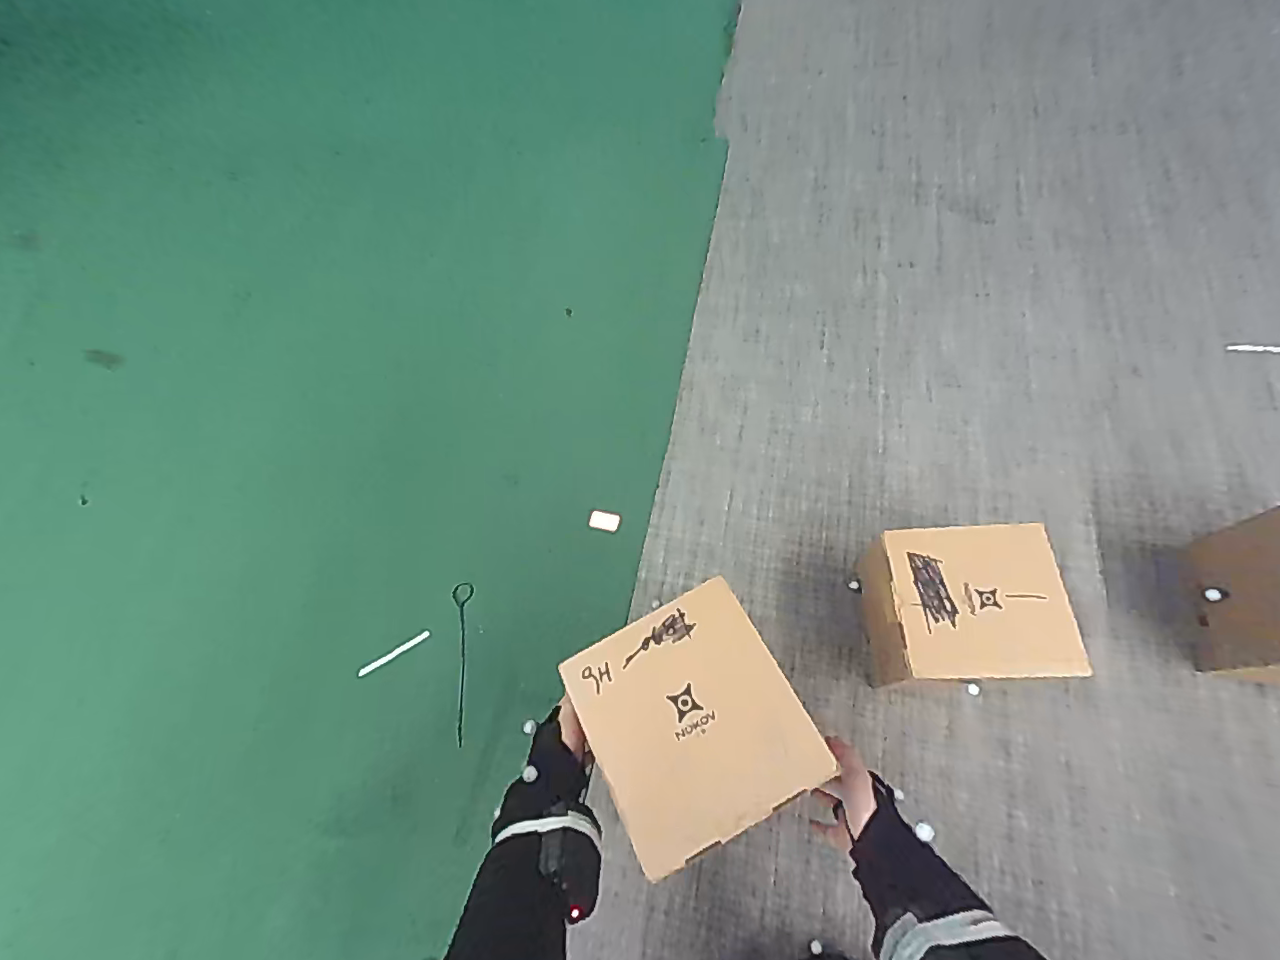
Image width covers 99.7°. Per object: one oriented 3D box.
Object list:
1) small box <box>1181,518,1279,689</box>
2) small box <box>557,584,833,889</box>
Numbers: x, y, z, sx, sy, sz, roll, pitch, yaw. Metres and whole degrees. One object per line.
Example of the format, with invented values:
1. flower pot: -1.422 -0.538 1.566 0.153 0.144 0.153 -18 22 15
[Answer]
1. small box: 0.770 0.143 0.596 0.179 0.176 0.168 8 67 13
2. small box: 0.049 0.226 0.505 0.168 0.176 0.179 -28 64 -5
